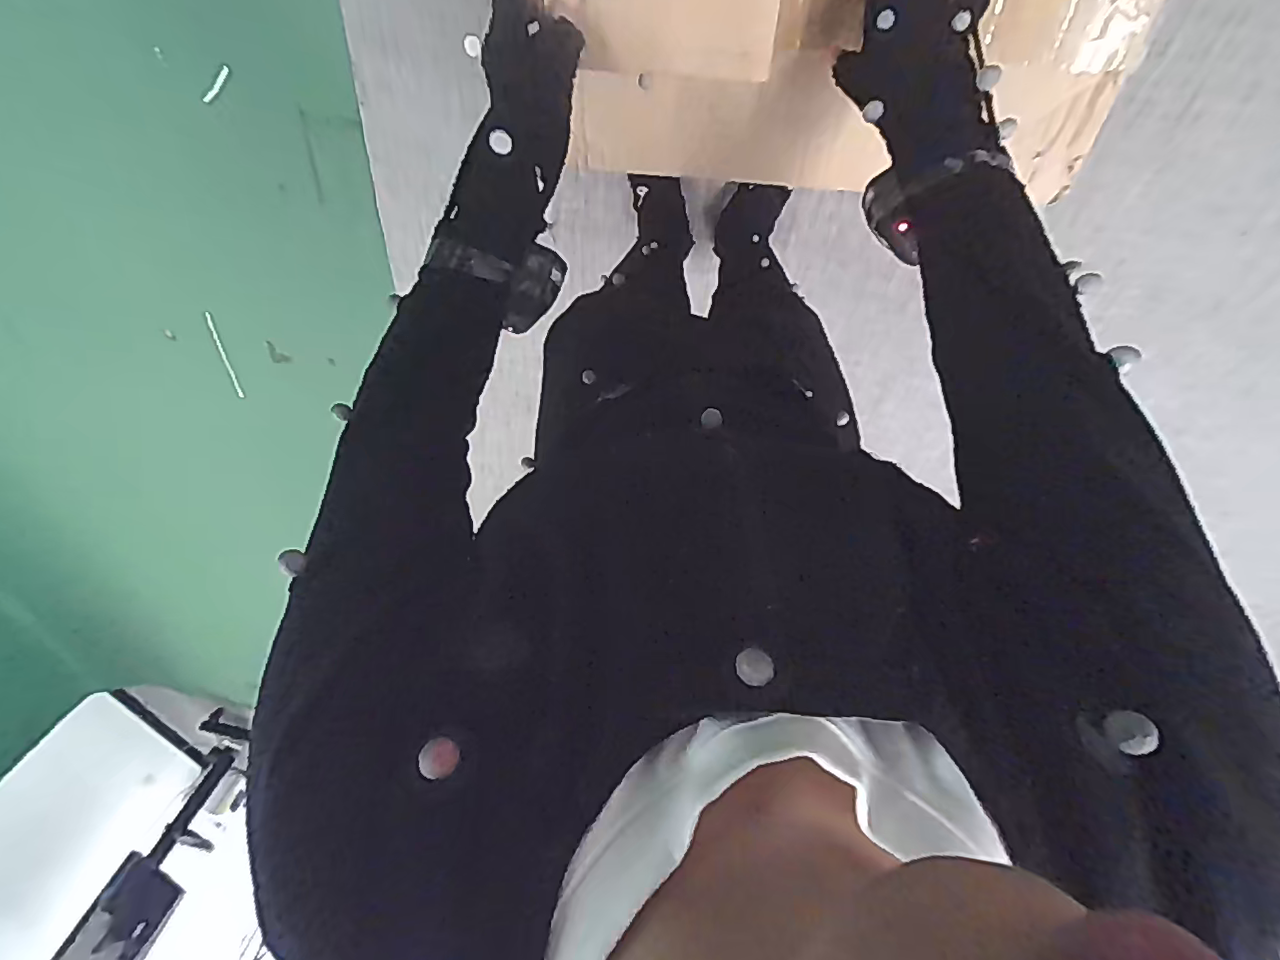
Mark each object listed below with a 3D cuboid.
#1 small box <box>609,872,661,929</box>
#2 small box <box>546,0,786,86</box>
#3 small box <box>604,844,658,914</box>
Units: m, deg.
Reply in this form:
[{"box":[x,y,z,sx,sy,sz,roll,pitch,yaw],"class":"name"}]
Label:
[{"box":[-0.020,1.736,2.262,0.179,0.176,0.168,11,133,5],"class":"small box"},{"box":[0.032,-0.421,0.419,0.179,0.176,0.168,8,133,6],"class":"small box"},{"box":[-0.027,1.529,2.077,0.179,0.176,0.168,5,132,12],"class":"small box"}]
